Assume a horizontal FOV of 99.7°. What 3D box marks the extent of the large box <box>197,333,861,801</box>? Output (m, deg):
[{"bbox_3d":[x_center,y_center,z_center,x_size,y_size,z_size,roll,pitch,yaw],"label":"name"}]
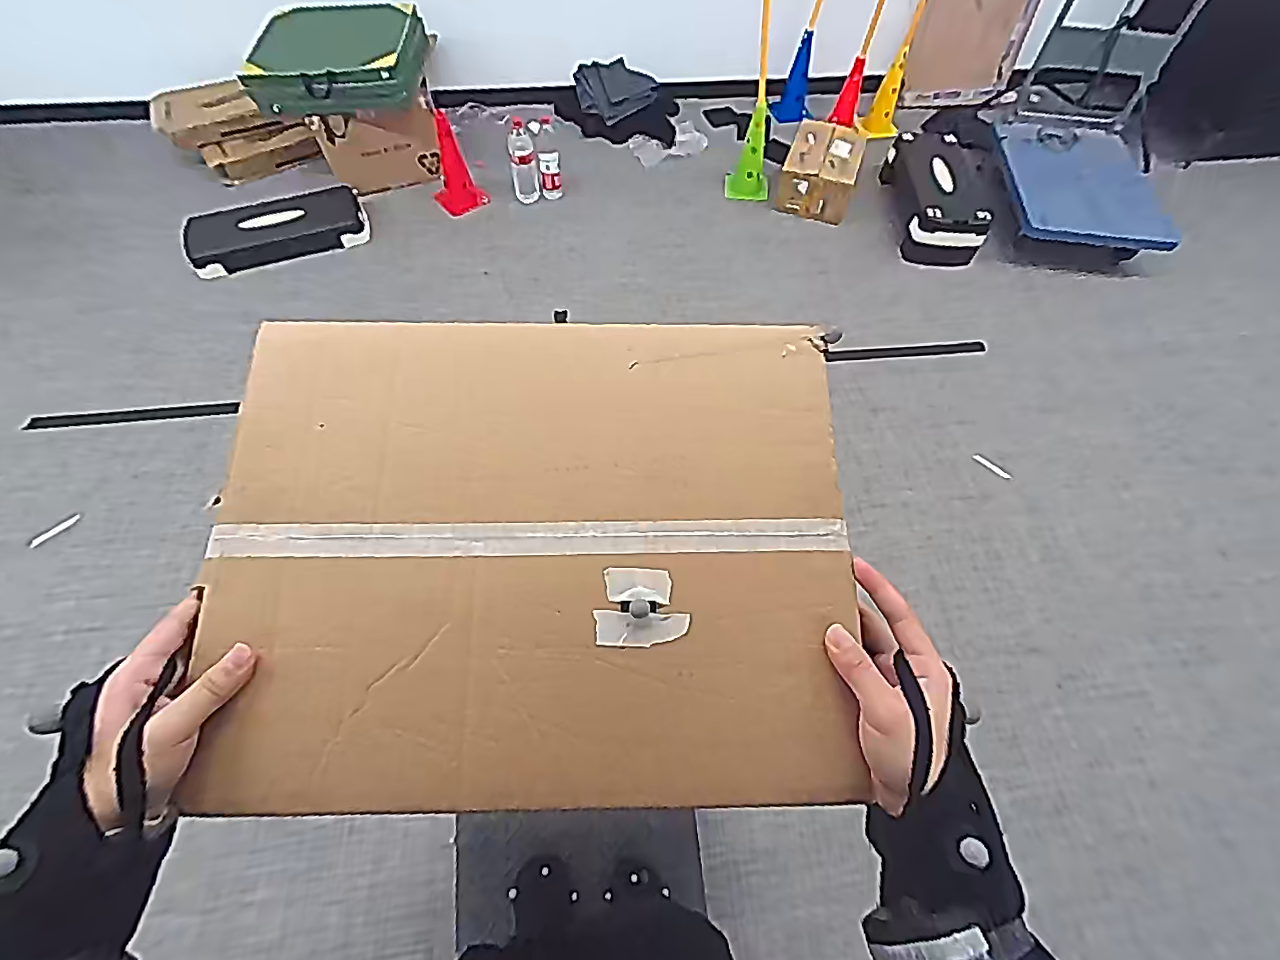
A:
[{"bbox_3d":[-0.070,0.079,0.505,0.408,0.320,0.320,0,75,-2],"label":"large box"}]
